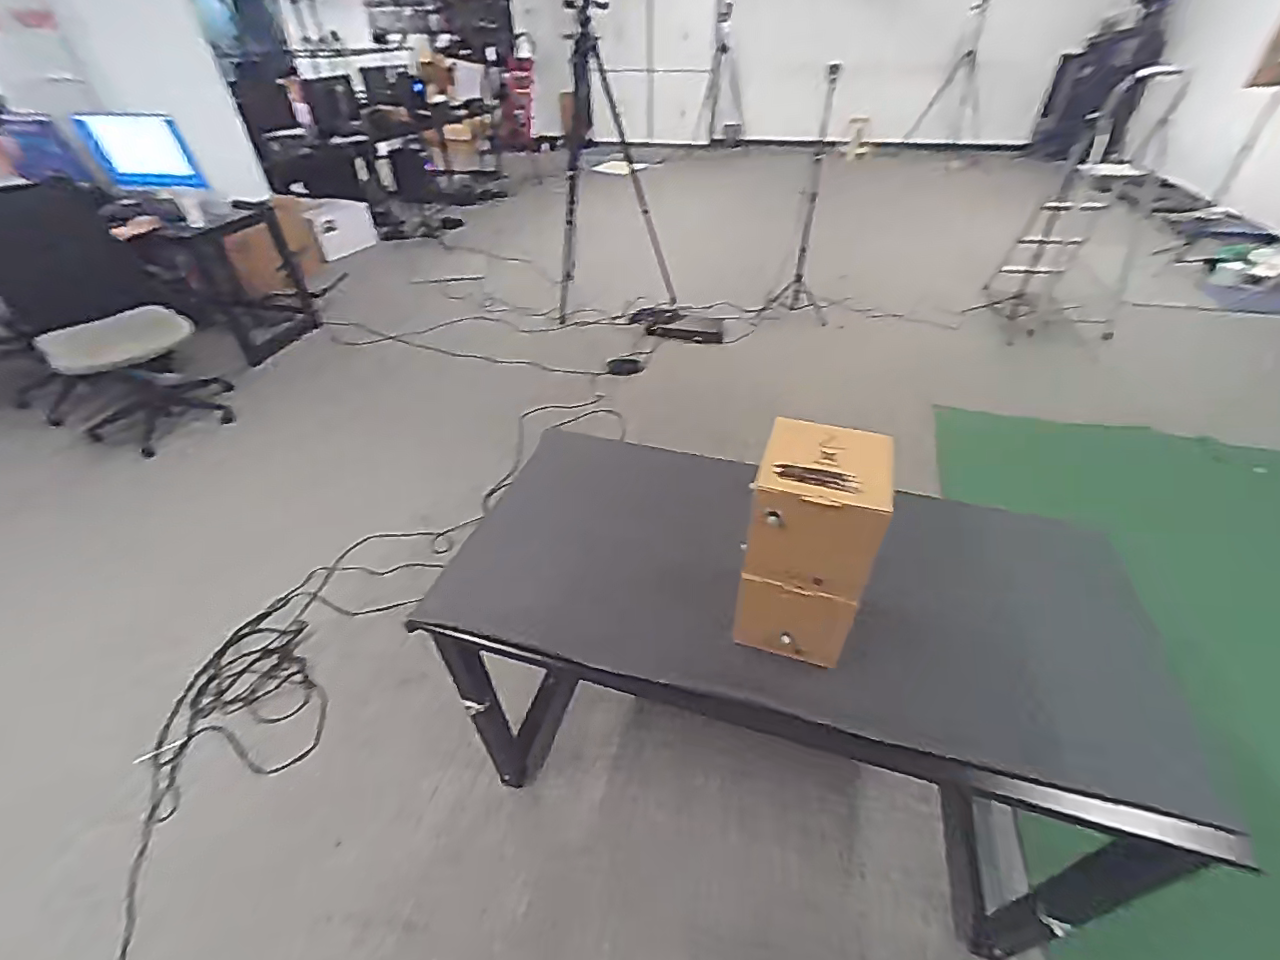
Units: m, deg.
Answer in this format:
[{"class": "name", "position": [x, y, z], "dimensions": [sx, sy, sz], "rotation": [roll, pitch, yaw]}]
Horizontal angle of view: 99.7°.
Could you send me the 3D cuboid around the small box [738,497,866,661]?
[{"class": "small box", "position": [0.260, 0.158, 0.880], "dimensions": [0.168, 0.176, 0.179], "rotation": [11, 42, 16]}]
